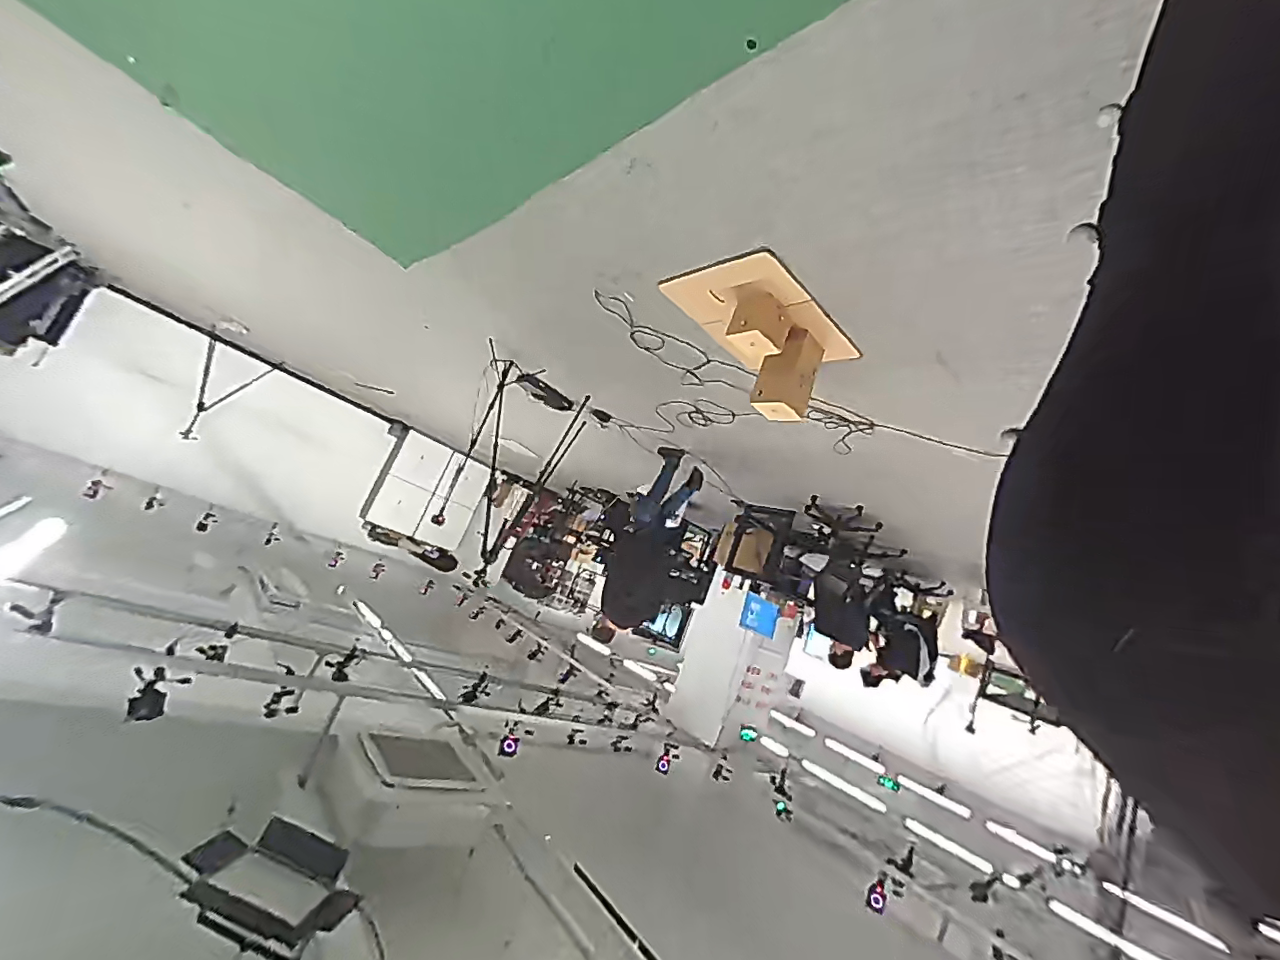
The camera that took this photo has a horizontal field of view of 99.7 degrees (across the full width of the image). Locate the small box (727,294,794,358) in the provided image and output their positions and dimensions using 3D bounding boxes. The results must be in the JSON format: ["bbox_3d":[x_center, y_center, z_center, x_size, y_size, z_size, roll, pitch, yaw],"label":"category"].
[{"bbox_3d":[0.484,-0.614,2.164,0.168,0.176,0.179,29,166,-34],"label":"small box"}]

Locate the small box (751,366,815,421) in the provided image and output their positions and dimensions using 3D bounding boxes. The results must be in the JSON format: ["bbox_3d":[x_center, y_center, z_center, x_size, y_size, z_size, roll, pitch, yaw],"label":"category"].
[{"bbox_3d":[0.604,-0.363,2.270,0.168,0.176,0.179,29,167,-39],"label":"small box"}]
